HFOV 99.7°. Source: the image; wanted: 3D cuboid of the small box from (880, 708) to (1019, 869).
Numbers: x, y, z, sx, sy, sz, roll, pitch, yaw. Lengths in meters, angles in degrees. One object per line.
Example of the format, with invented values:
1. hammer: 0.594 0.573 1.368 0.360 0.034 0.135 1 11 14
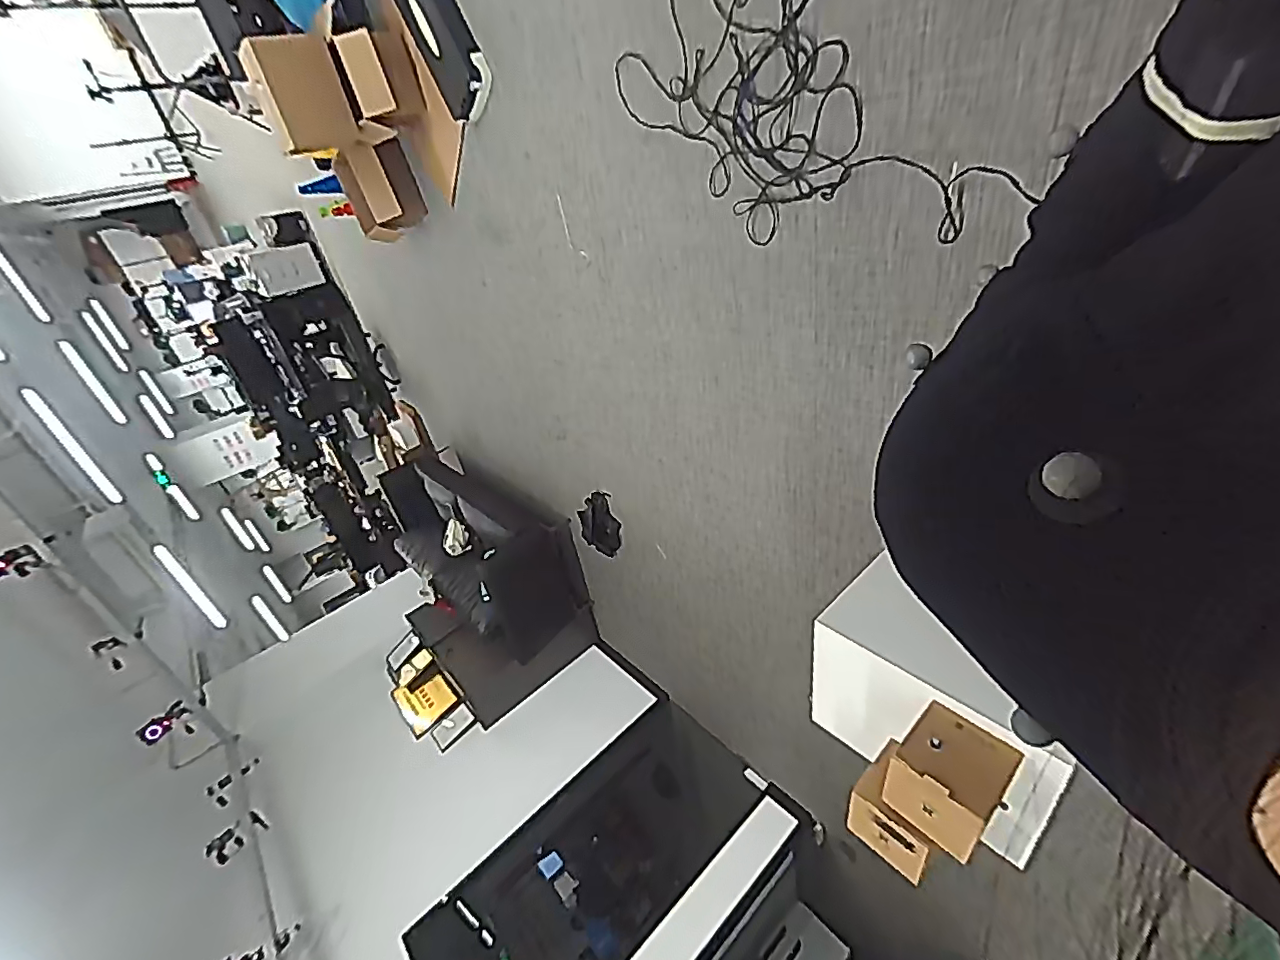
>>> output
1. small box: 0.591 0.581 1.037 0.168 0.176 0.179 29 141 43
